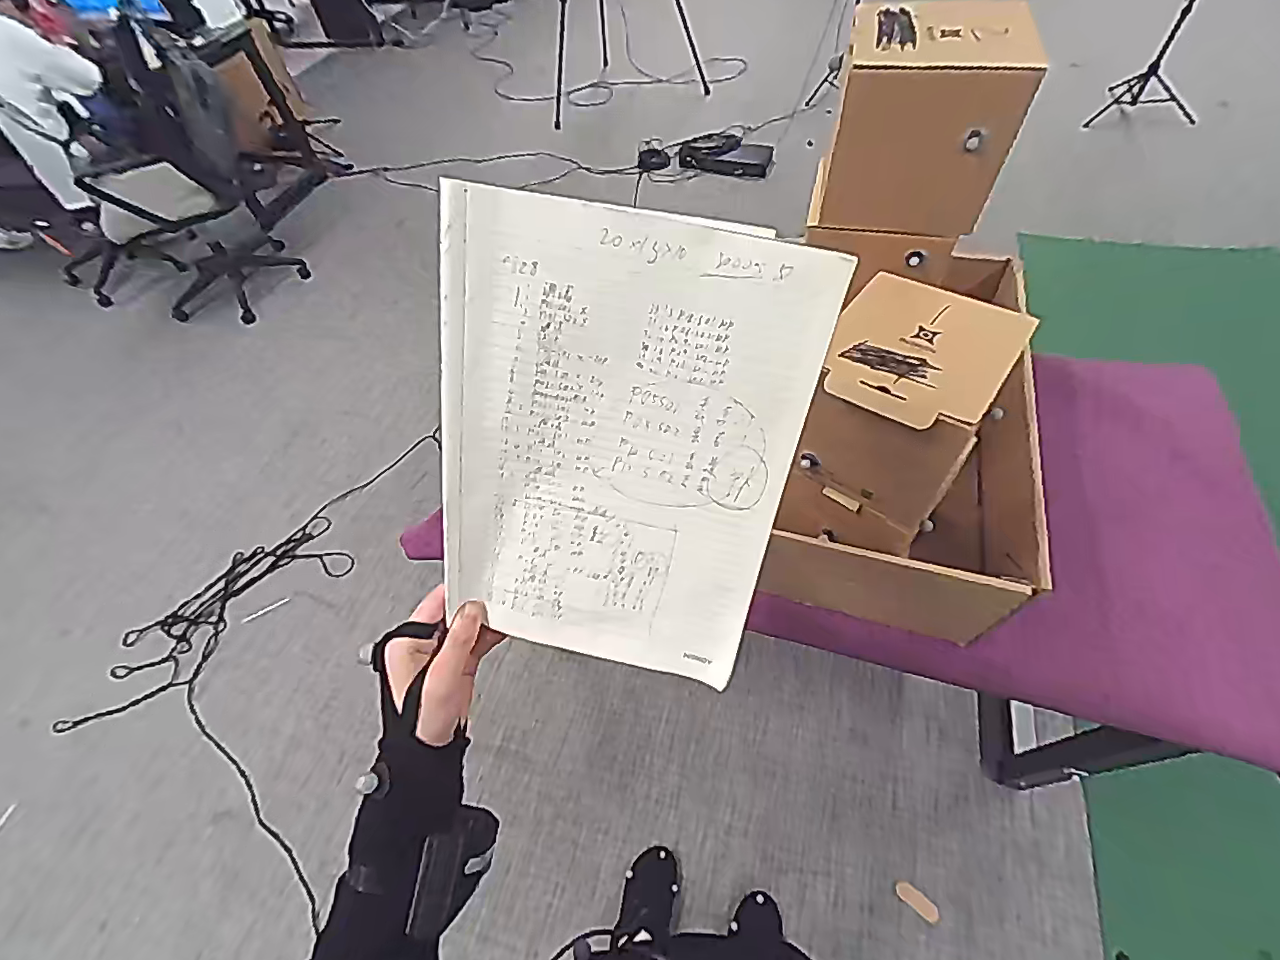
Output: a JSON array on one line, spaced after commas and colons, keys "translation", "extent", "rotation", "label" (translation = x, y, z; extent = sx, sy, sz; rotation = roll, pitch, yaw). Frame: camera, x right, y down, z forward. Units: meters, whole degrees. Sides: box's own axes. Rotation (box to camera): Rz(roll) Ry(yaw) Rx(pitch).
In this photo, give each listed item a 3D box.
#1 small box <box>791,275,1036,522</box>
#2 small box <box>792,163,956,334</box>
[{"translation": [0.280, -0.086, 0.591], "extent": [0.168, 0.176, 0.179], "rotation": [31, 62, 26], "label": "small box"}, {"translation": [0.316, -0.314, 0.755], "extent": [0.179, 0.176, 0.168], "rotation": [10, 58, 13], "label": "small box"}]
